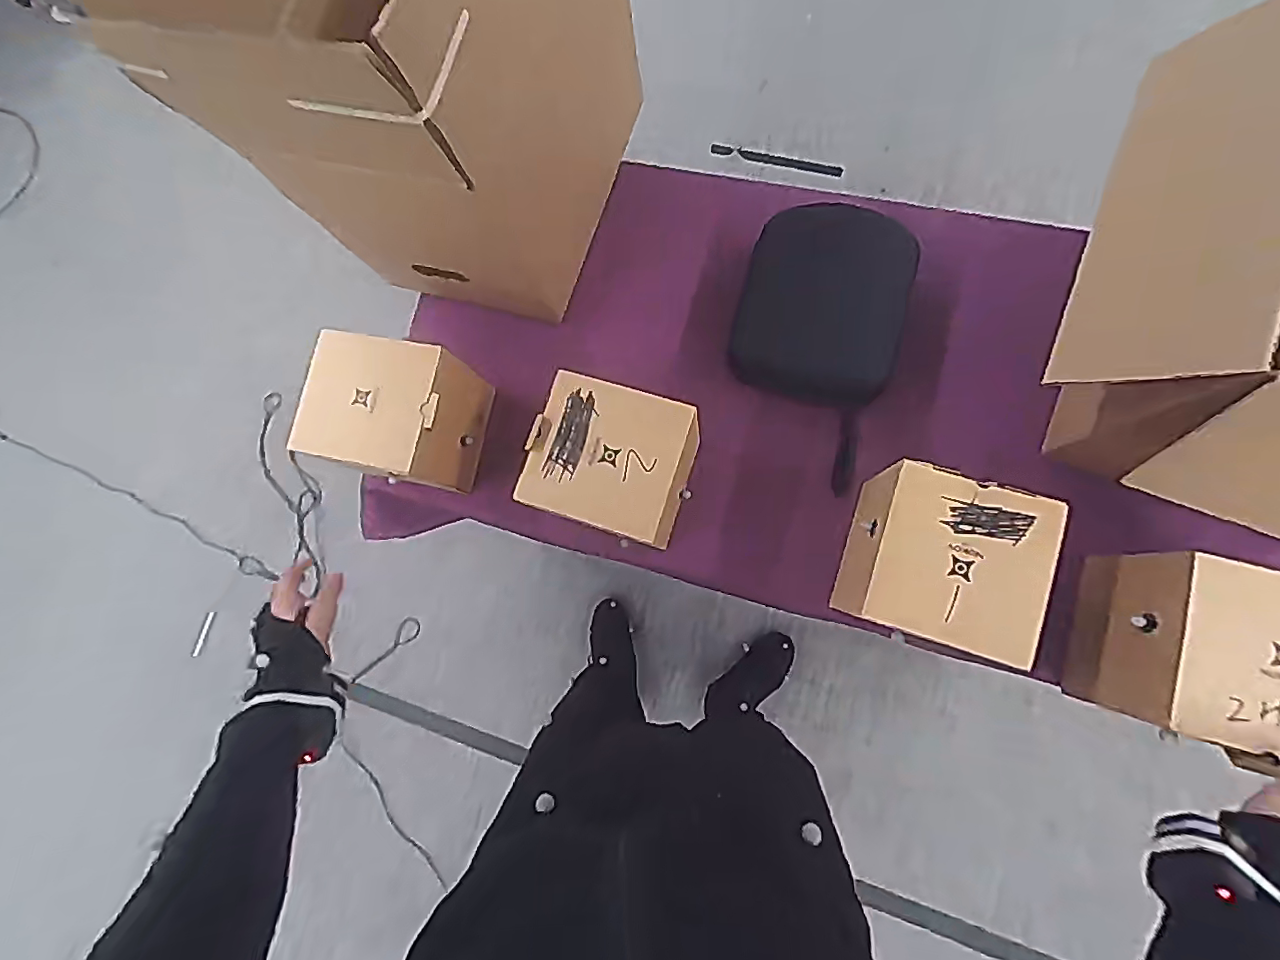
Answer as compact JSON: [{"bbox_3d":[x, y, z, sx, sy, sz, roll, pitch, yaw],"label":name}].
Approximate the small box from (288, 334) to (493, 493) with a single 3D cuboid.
[{"bbox_3d":[-0.333,-0.084,0.756,0.179,0.176,0.168,10,82,8],"label":"small box"}]
